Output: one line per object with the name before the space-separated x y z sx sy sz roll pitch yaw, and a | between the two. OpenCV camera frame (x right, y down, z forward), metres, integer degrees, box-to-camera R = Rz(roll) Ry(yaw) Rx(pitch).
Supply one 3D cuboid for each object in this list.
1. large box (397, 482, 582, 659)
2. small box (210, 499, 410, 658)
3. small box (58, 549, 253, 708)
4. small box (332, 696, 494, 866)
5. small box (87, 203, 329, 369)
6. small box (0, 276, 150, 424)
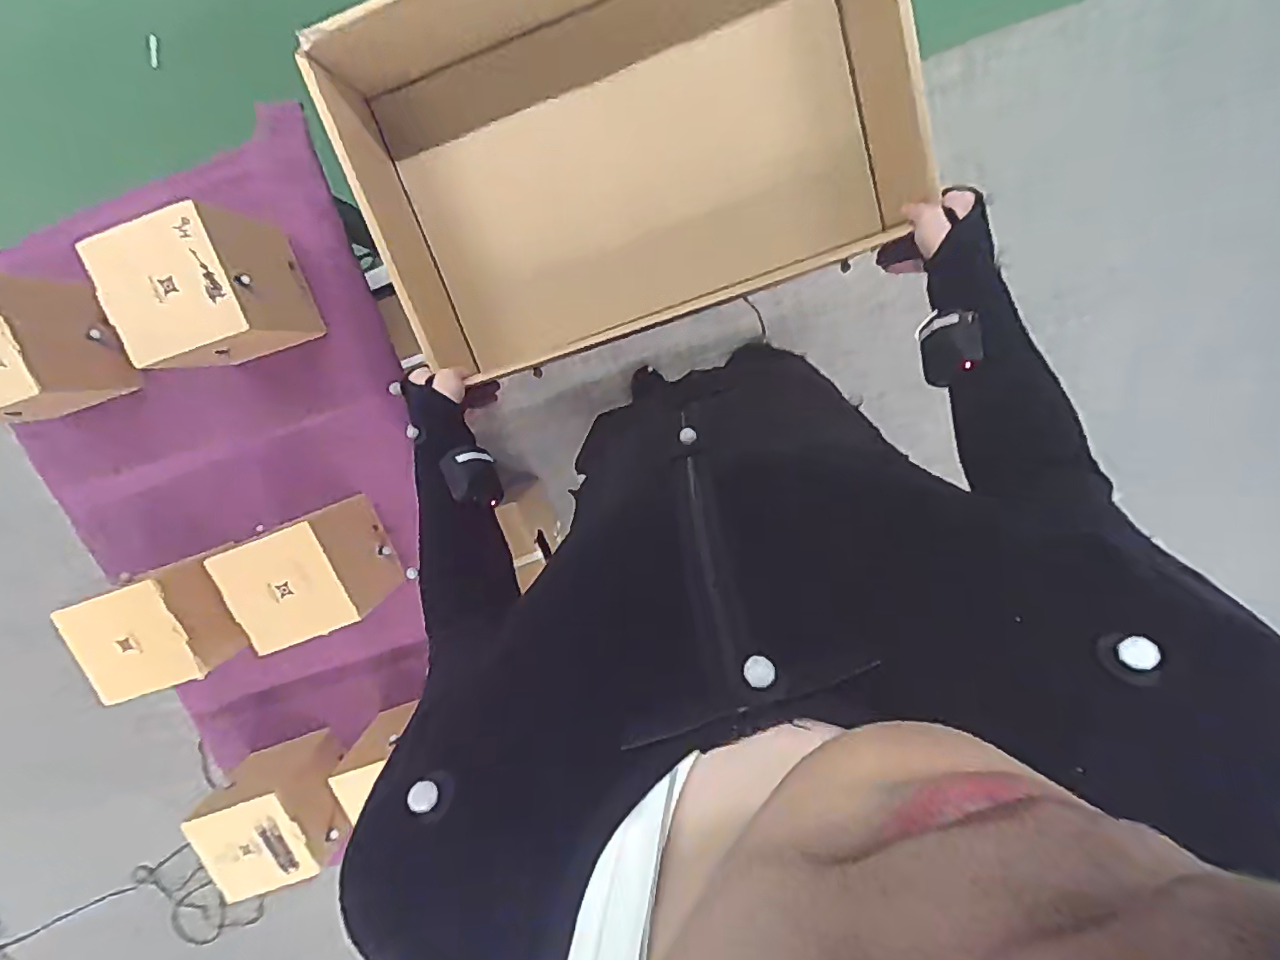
large box | -0.423 0.241 1.546 0.408 0.320 0.320 -21 99 7
small box | -0.504 0.146 0.855 0.179 0.176 0.168 -20 101 6
small box | -0.749 0.232 0.879 0.179 0.176 0.168 -19 100 4
small box | -0.367 0.499 0.920 0.179 0.176 0.168 -20 99 7
small box | -0.596 -0.262 0.771 0.179 0.176 0.168 -16 102 7
small box | -0.899 -0.182 0.794 0.179 0.176 0.168 -17 103 4
